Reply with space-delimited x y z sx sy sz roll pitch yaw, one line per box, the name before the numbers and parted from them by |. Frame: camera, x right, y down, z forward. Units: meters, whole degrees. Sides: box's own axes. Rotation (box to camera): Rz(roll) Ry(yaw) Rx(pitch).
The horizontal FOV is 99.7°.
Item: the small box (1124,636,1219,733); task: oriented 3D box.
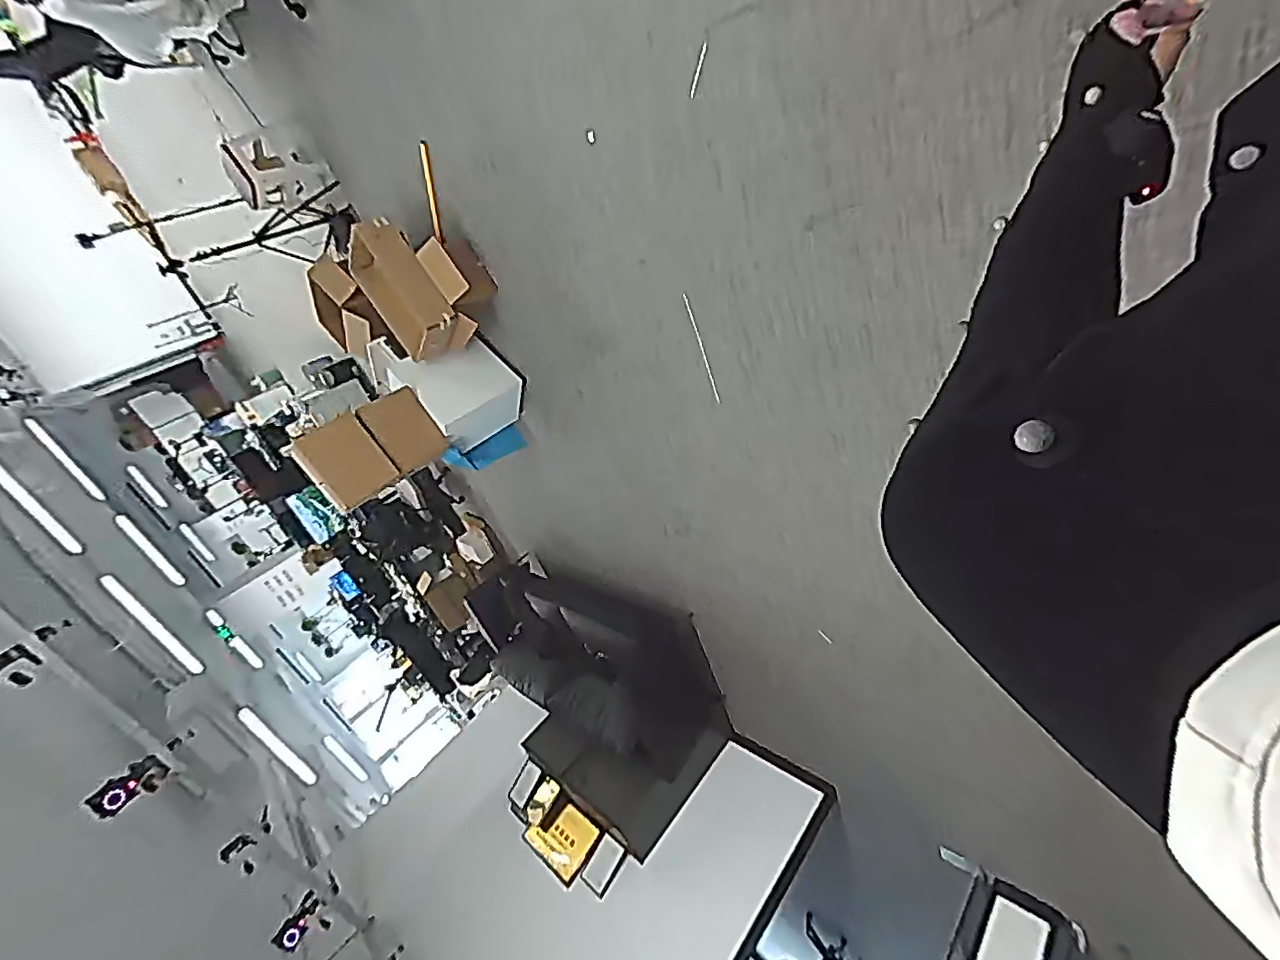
small box | 1.540 0.584 1.568 0.179 0.176 0.168 10 130 45
